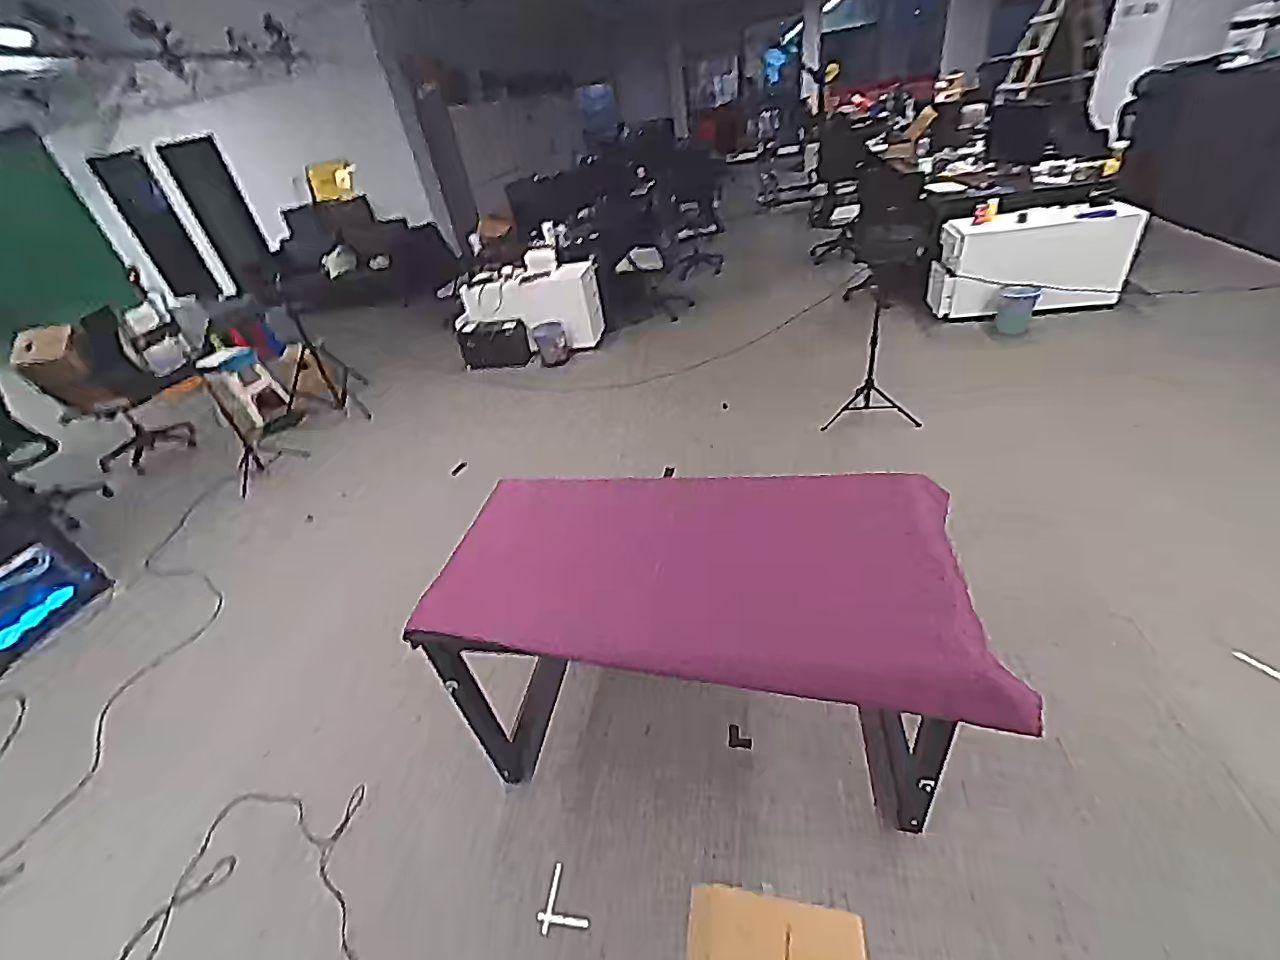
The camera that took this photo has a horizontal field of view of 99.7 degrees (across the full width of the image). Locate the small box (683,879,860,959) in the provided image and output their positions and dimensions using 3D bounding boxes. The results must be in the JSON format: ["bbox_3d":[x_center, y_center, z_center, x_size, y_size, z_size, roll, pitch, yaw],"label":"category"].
[{"bbox_3d":[0.136,0.567,0.600,0.168,0.176,0.179,9,52,3],"label":"small box"}]
